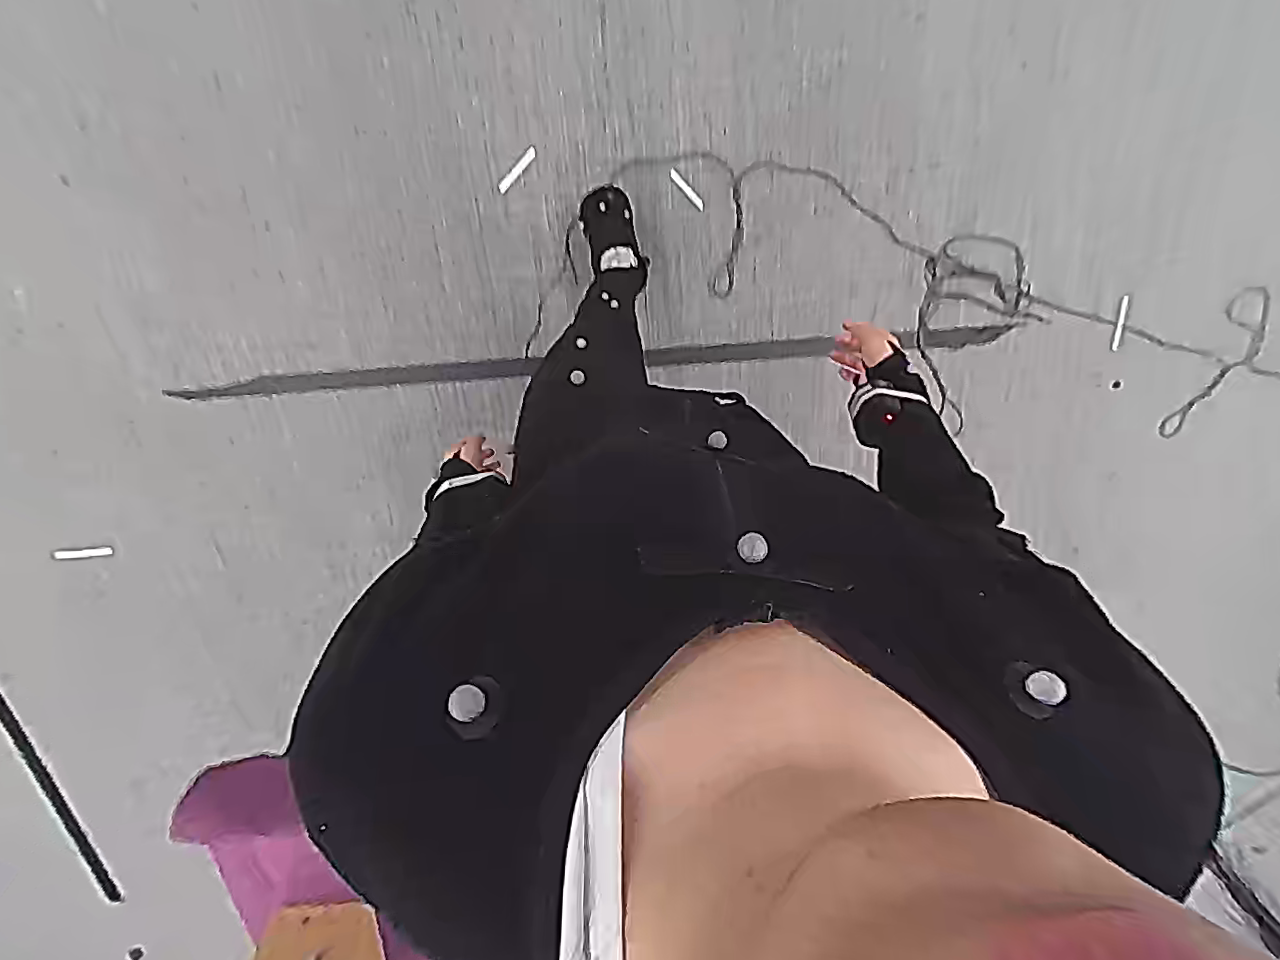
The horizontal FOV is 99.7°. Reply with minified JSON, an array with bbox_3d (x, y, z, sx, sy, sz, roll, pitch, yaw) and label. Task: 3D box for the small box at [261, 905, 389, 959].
[{"bbox_3d":[-0.548,0.862,0.920,0.168,0.176,0.179,-1,110,-5],"label":"small box"}]
